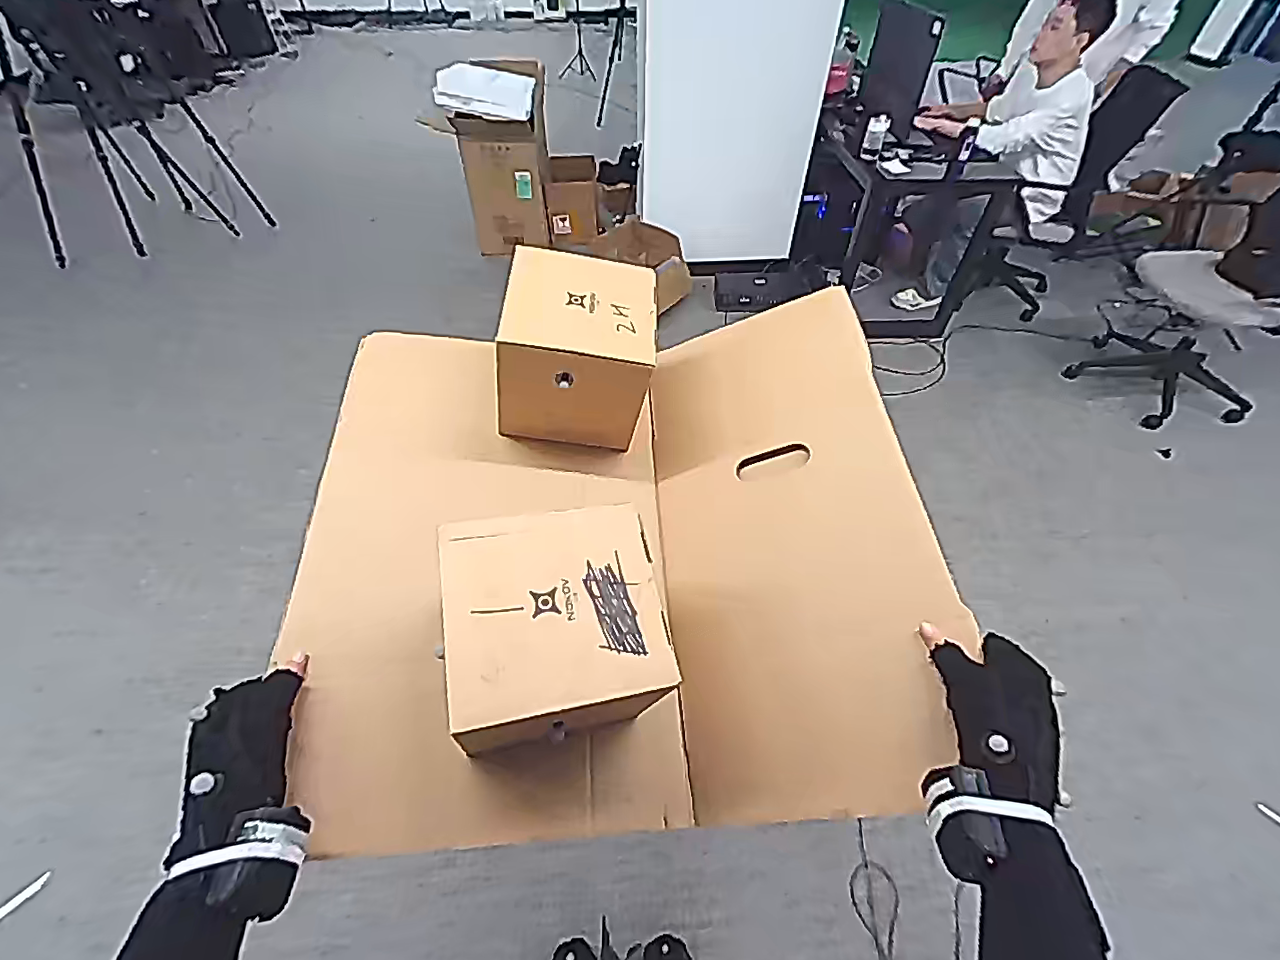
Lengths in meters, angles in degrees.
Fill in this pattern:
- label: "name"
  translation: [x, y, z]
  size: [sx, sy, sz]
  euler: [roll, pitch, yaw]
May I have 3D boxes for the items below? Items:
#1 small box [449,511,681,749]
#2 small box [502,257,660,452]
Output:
- label: "small box"
  translation: [-0.081, 0.146, 0.516]
  size: [0.179, 0.176, 0.168]
  euler: [-6, 61, -16]
- label: "small box"
  translation: [-0.077, -0.154, 0.702]
  size: [0.179, 0.176, 0.168]
  euler: [8, 58, -9]
